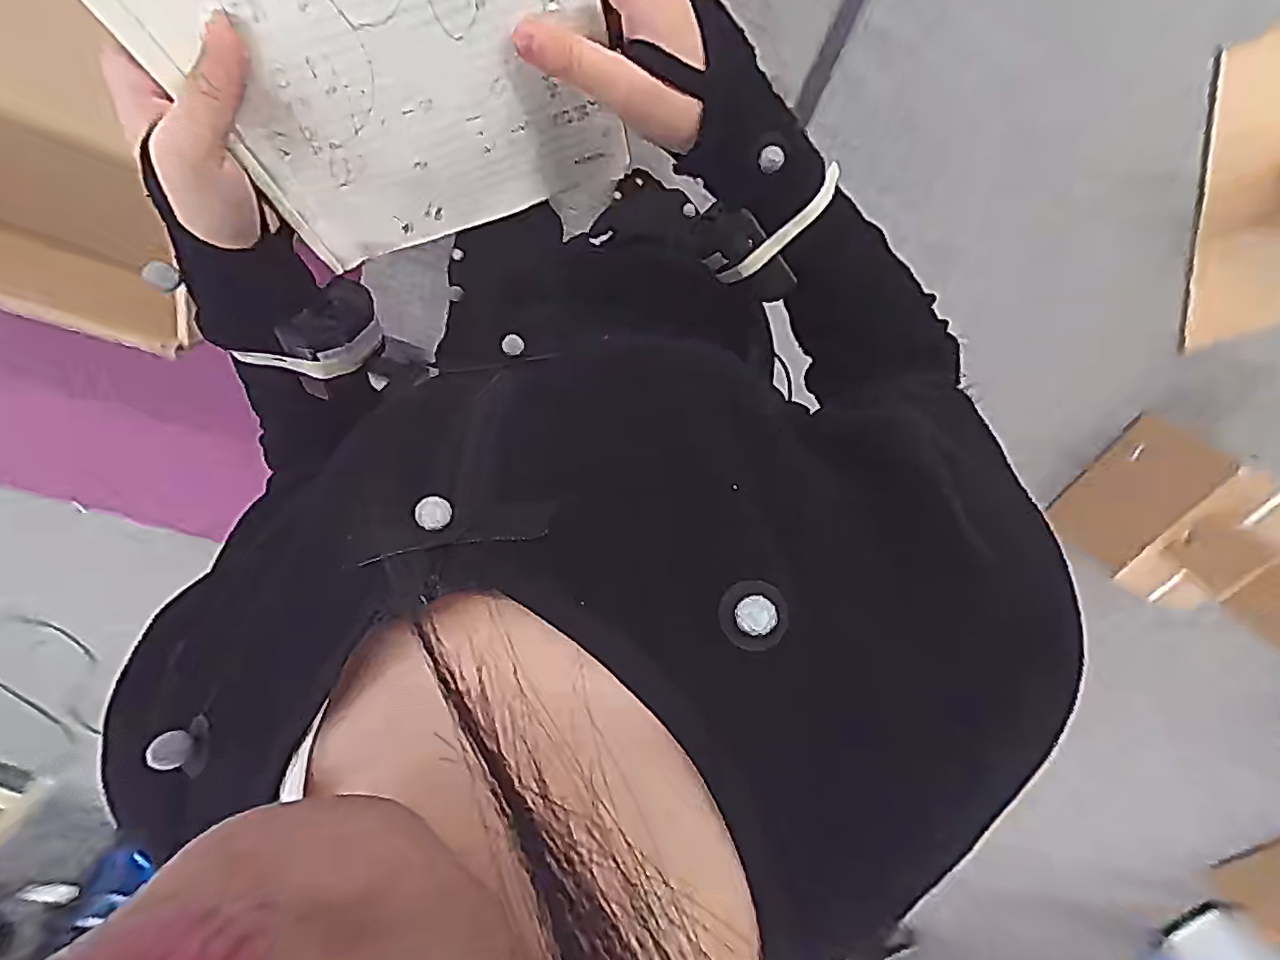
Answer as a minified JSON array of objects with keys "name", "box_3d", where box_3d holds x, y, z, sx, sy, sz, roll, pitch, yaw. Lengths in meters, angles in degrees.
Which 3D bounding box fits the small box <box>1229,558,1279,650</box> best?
[{"name":"small box","box_3d":[1.491,0.296,1.201,0.168,0.176,0.179,20,118,-14]}]
